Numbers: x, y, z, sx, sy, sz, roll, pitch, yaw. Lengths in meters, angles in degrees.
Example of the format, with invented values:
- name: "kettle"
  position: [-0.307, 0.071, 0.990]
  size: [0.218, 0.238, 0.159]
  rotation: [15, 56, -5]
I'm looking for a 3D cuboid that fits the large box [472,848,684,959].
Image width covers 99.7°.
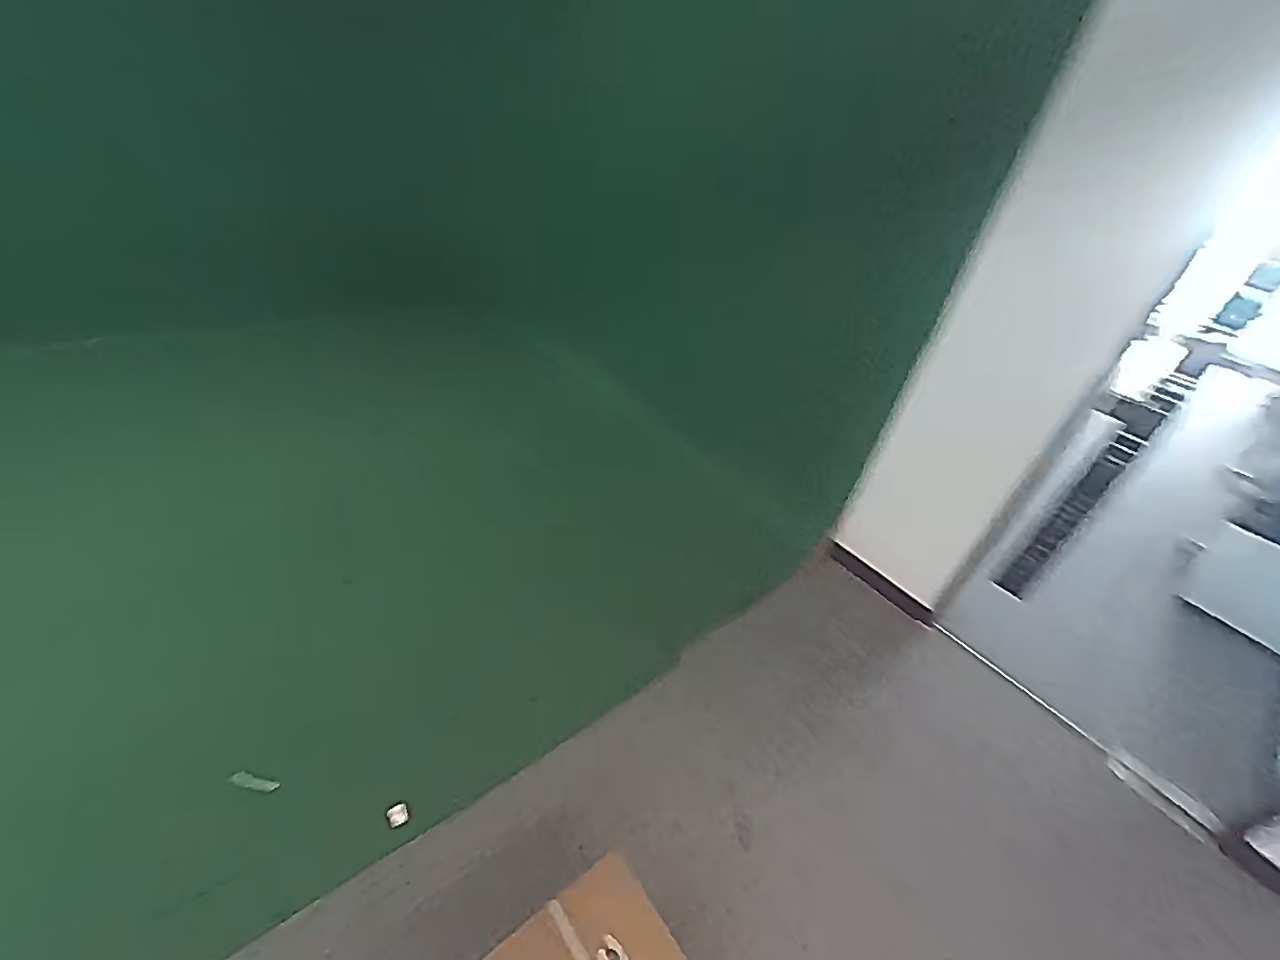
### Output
- name: "large box"
  position: [-0.075, 1.014, 0.994]
  size: [0.320, 0.320, 0.408]
  rotation: [-19, 45, -34]
